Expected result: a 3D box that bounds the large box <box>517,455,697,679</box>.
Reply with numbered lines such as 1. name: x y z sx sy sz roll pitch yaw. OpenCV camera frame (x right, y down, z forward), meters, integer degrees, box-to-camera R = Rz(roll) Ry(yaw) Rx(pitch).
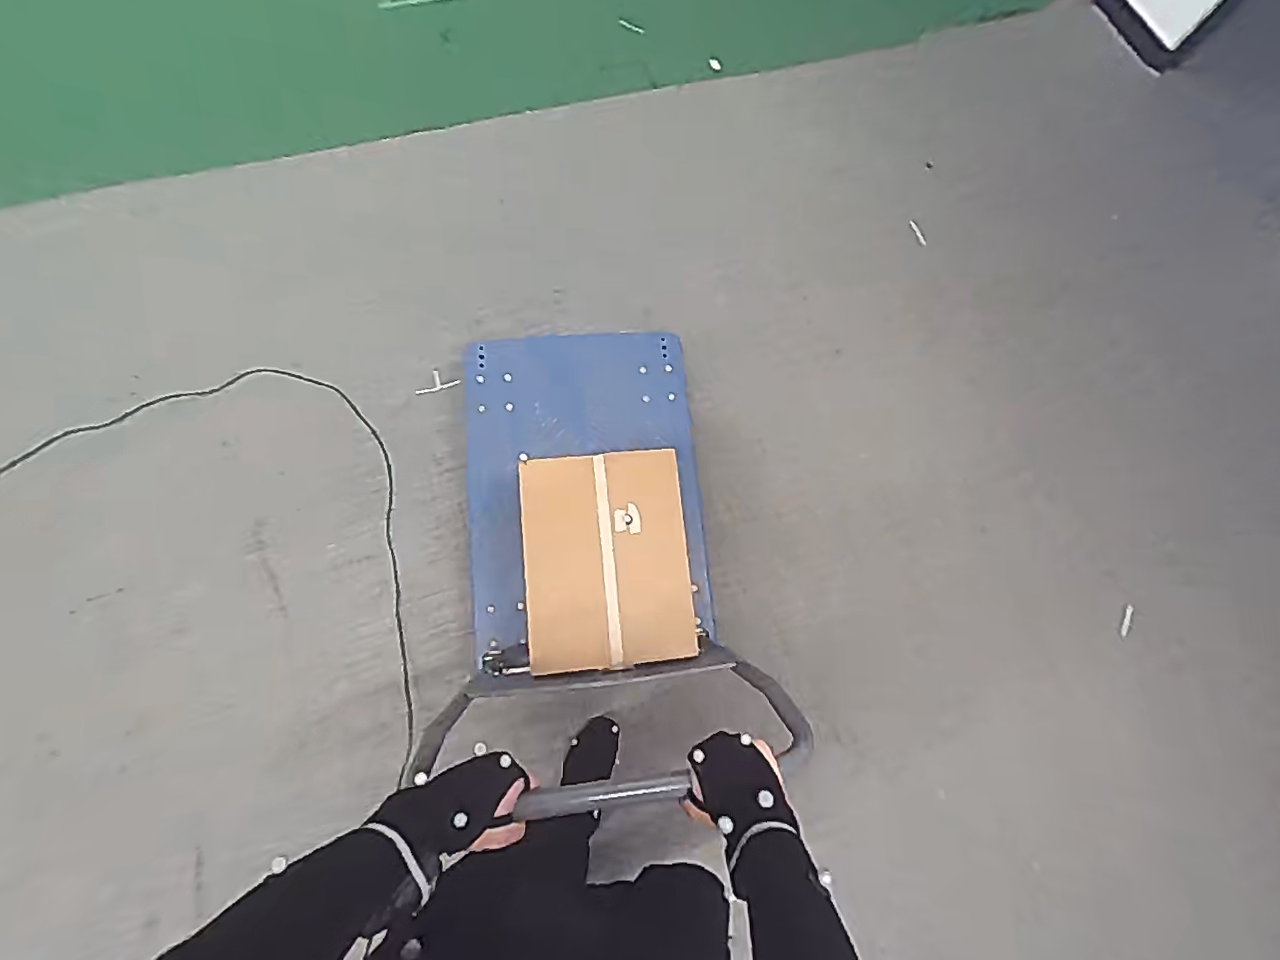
1. large box: -0.080 0.190 1.184 0.320 0.320 0.408 -5 77 -8
